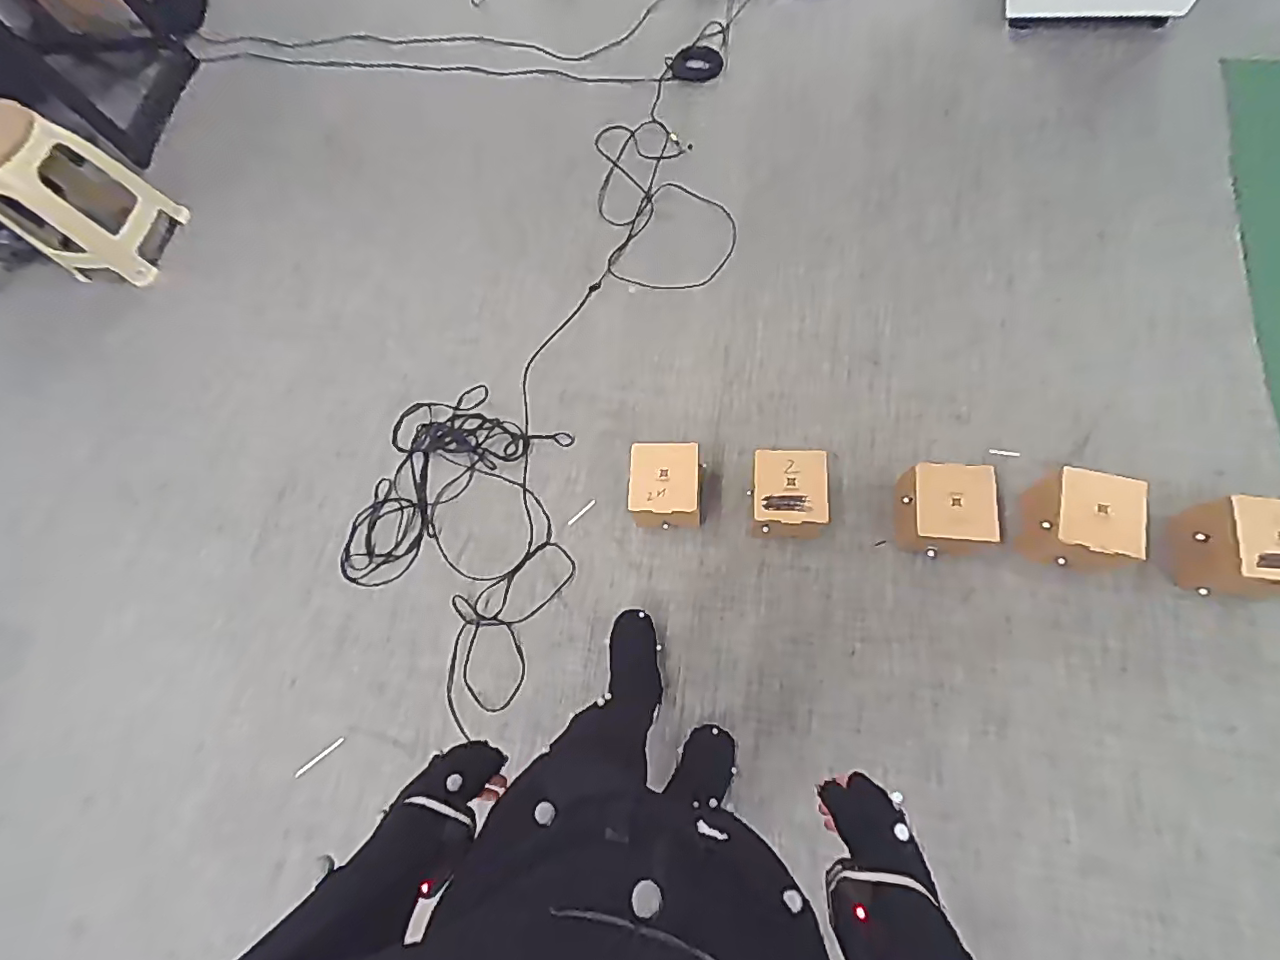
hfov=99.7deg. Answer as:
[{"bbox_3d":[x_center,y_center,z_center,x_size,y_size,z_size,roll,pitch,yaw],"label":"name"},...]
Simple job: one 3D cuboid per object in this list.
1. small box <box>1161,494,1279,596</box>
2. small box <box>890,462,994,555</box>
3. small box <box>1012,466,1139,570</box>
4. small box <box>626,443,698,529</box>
[{"bbox_3d":[1.289,0.146,1.170,0.168,0.176,0.179,8,72,10],"label":"small box"},{"bbox_3d":[0.698,0.070,1.270,0.168,0.176,0.179,3,74,10],"label":"small box"},{"bbox_3d":[0.980,0.091,1.228,0.168,0.176,0.179,13,74,11],"label":"small box"},{"bbox_3d":[0.061,0.017,1.369,0.168,0.176,0.179,0,72,8],"label":"small box"}]
